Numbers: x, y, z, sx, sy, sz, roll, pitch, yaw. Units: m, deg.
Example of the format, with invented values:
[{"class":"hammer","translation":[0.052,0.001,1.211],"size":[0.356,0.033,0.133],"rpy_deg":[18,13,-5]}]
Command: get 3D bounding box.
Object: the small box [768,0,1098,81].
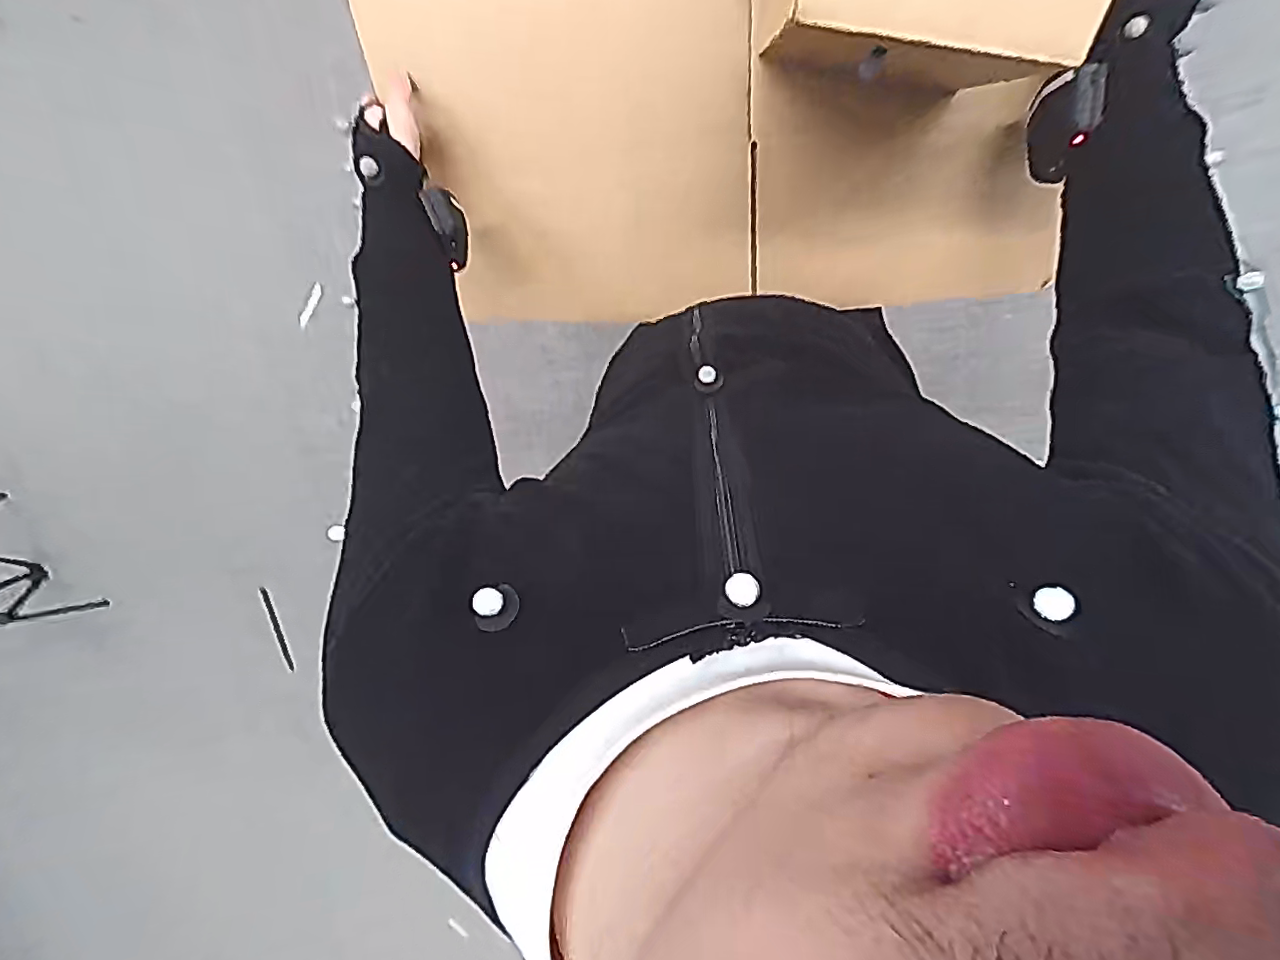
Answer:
[{"class":"small box","translation":[0.191,-0.375,0.348],"size":[0.179,0.176,0.168],"rpy_deg":[9,122,0]}]
